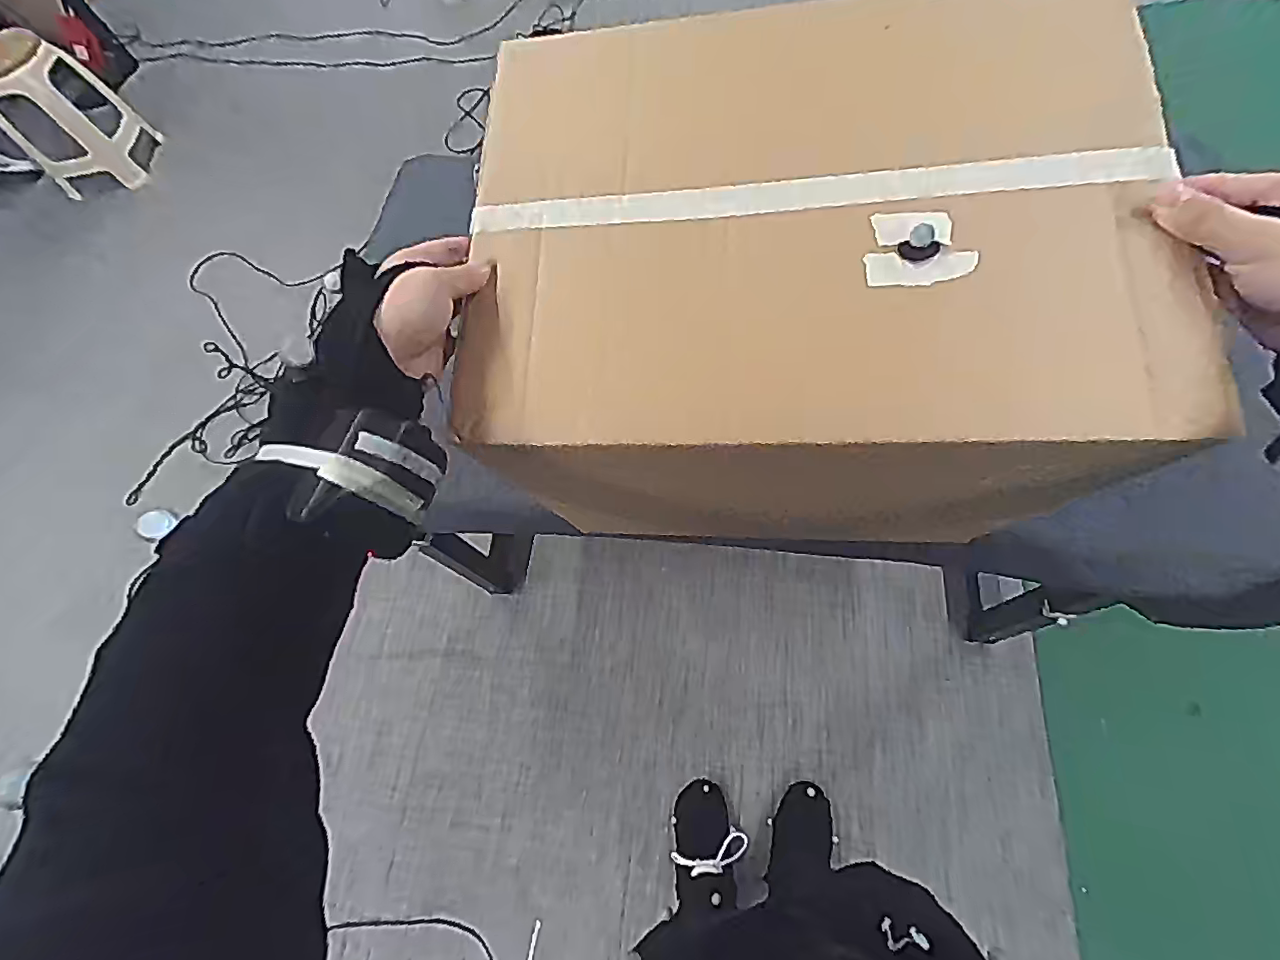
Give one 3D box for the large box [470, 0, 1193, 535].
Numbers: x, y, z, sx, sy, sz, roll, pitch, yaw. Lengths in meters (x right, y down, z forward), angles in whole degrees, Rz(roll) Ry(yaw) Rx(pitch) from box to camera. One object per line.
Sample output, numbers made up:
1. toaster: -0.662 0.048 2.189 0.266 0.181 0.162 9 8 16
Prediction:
1. large box: 0.112 -0.130 0.487 0.408 0.320 0.320 0 75 8
